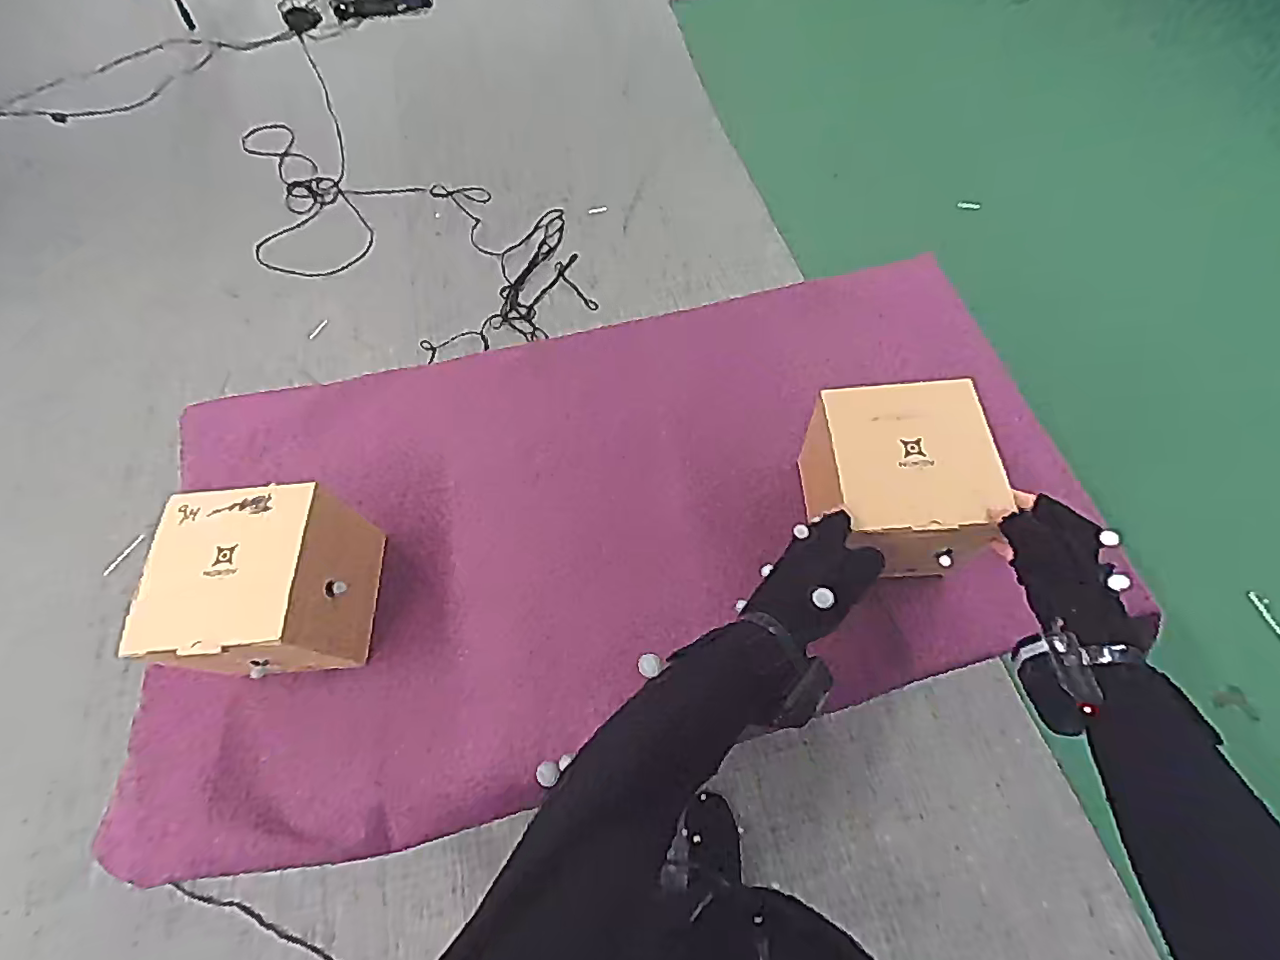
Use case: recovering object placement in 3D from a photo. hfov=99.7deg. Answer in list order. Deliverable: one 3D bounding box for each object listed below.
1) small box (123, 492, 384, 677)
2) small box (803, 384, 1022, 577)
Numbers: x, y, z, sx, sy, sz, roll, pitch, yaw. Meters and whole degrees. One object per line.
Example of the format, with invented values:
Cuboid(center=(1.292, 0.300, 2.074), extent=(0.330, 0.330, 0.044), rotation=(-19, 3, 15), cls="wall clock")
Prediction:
Cuboid(center=(-0.425, 0.131, 0.632), extent=(0.168, 0.176, 0.179), rotation=(-5, 64, 1), cls="small box")
Cuboid(center=(0.298, 0.011, 0.638), extent=(0.168, 0.176, 0.179), rotation=(-4, 62, 5), cls="small box")
